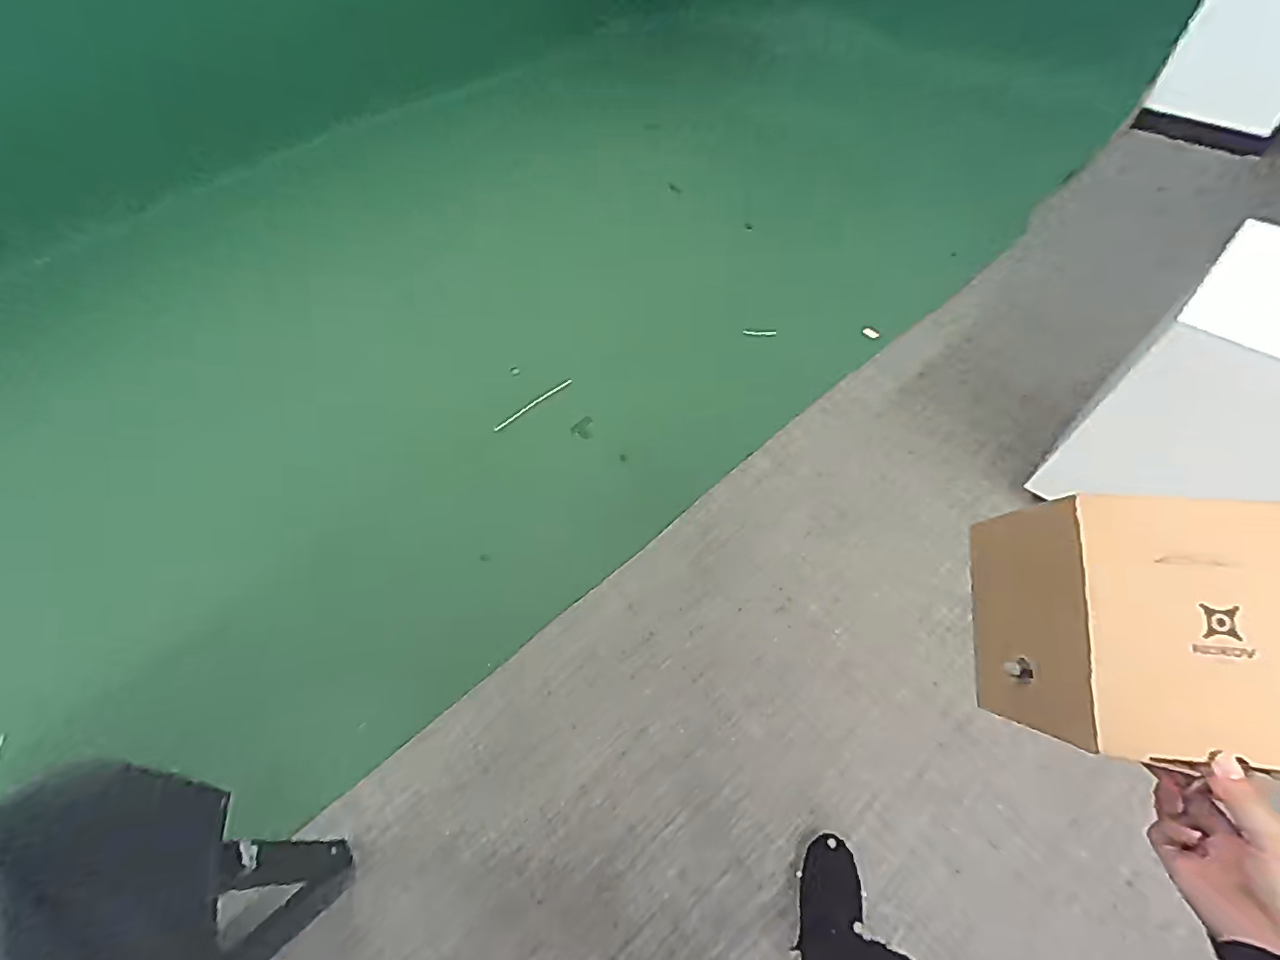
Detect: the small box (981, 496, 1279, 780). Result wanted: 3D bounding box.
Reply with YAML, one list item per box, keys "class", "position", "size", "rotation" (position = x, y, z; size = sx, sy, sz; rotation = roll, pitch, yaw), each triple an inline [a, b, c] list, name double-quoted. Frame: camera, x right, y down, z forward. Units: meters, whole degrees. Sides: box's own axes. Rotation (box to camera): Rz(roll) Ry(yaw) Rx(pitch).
- class: "small box"
  position: [0.399, 0.117, 0.430]
  size: [0.168, 0.176, 0.179]
  rotation: [3, 77, 8]
